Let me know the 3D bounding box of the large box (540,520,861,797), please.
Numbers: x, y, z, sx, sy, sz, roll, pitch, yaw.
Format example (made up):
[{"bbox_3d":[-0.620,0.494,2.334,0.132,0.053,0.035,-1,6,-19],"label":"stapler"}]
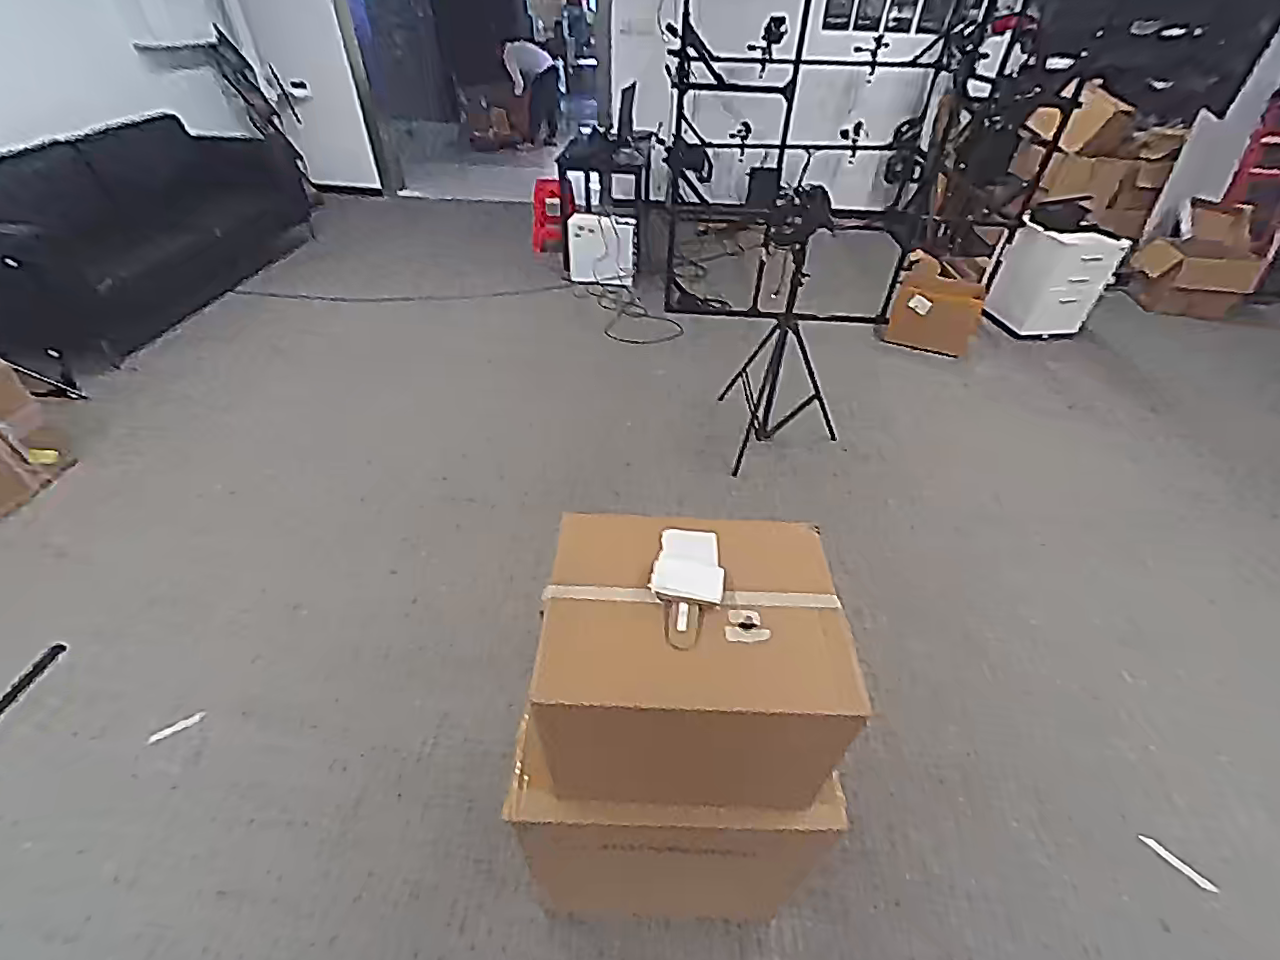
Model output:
[{"bbox_3d":[0.069,0.283,0.863,0.408,0.320,0.320,3,42,-1],"label":"large box"}]
